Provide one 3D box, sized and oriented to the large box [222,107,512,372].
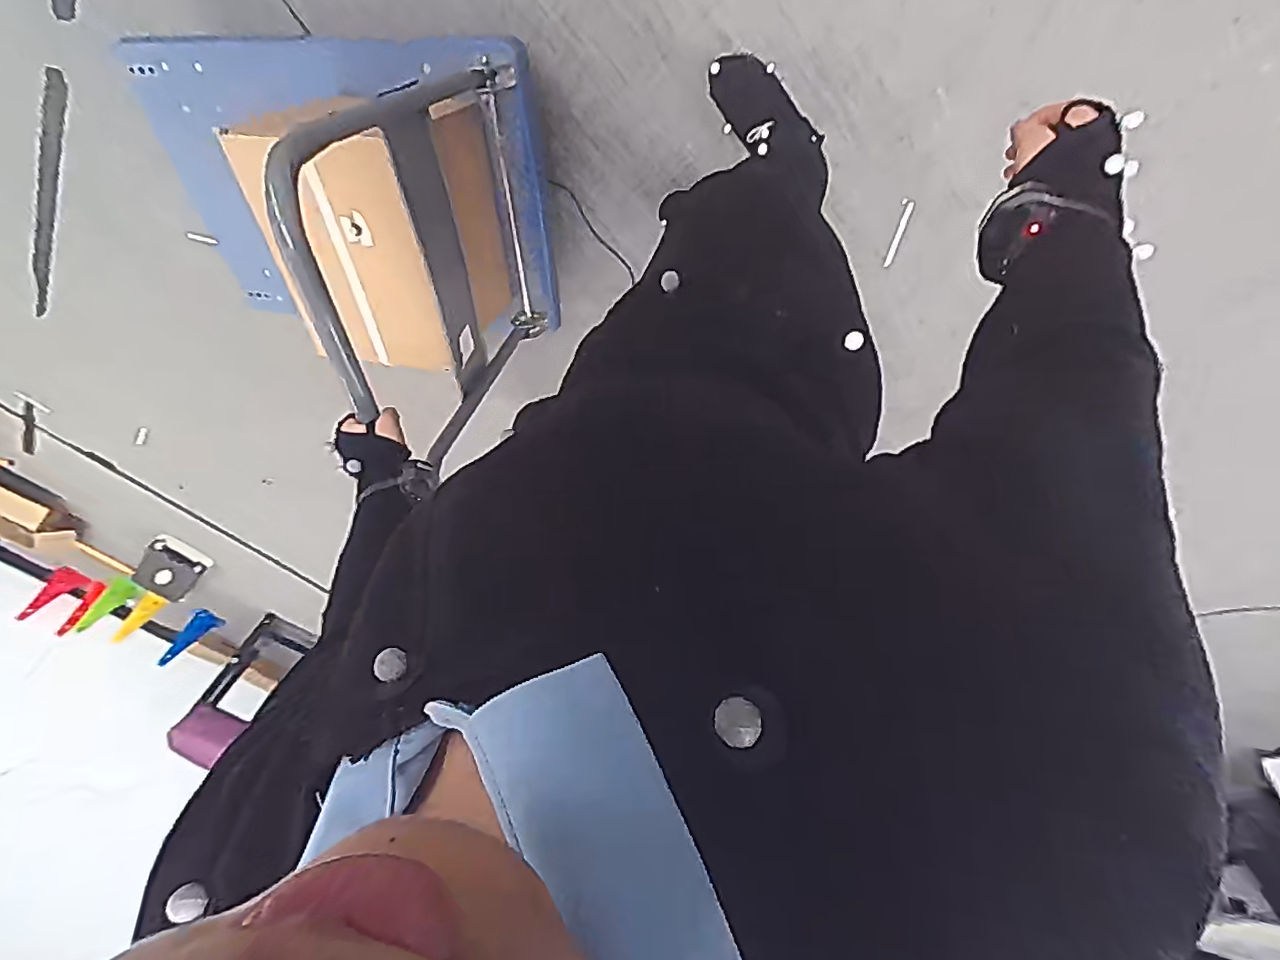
[{"bbox_3d":[-0.484,-0.477,1.075,0.320,0.320,0.408,7,133,9],"label":"large box"}]
